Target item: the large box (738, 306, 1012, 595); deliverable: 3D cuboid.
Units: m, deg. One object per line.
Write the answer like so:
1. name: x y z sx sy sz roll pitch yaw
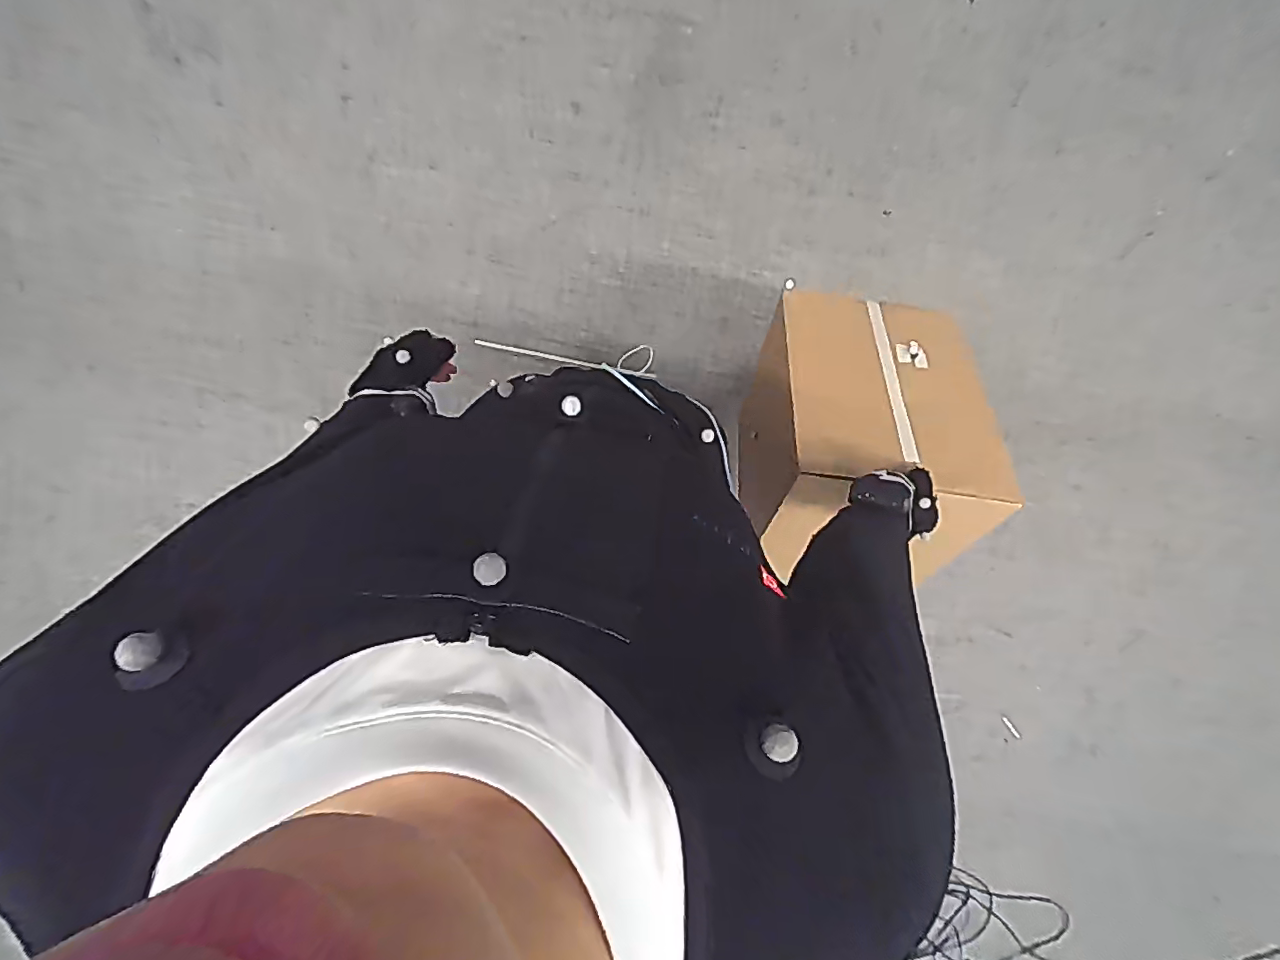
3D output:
1. large box: 0.366 -0.048 0.976 0.320 0.408 0.320 8 143 -2
